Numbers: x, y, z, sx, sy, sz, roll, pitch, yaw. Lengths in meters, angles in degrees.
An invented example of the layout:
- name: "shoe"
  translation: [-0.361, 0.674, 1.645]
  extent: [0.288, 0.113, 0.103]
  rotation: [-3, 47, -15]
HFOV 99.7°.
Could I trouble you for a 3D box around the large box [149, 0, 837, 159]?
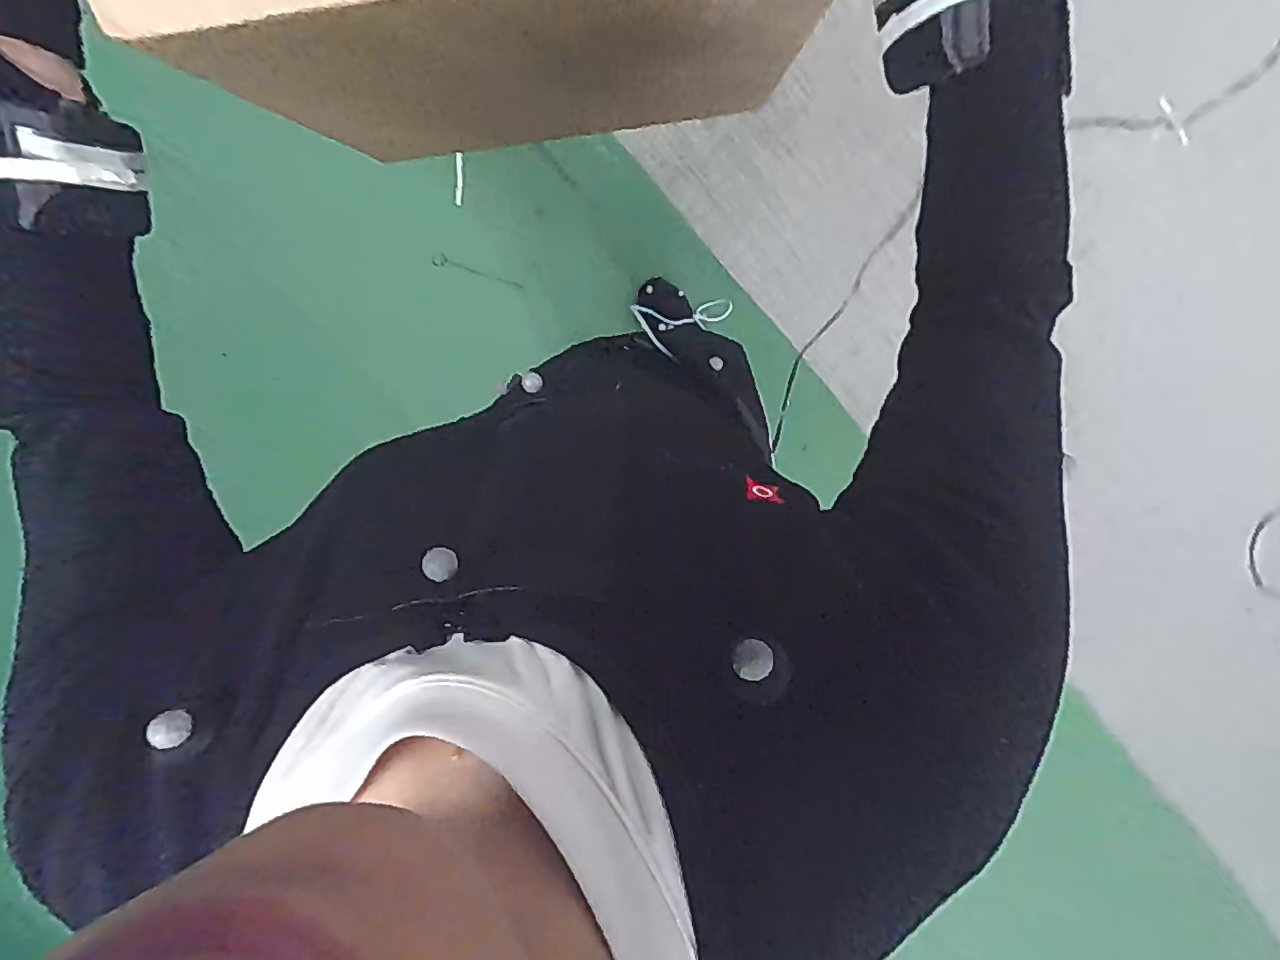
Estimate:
- name: "large box"
  translation: [-0.082, -0.452, 0.371]
  extent: [0.408, 0.320, 0.320]
  rotation: [-7, 110, 2]
